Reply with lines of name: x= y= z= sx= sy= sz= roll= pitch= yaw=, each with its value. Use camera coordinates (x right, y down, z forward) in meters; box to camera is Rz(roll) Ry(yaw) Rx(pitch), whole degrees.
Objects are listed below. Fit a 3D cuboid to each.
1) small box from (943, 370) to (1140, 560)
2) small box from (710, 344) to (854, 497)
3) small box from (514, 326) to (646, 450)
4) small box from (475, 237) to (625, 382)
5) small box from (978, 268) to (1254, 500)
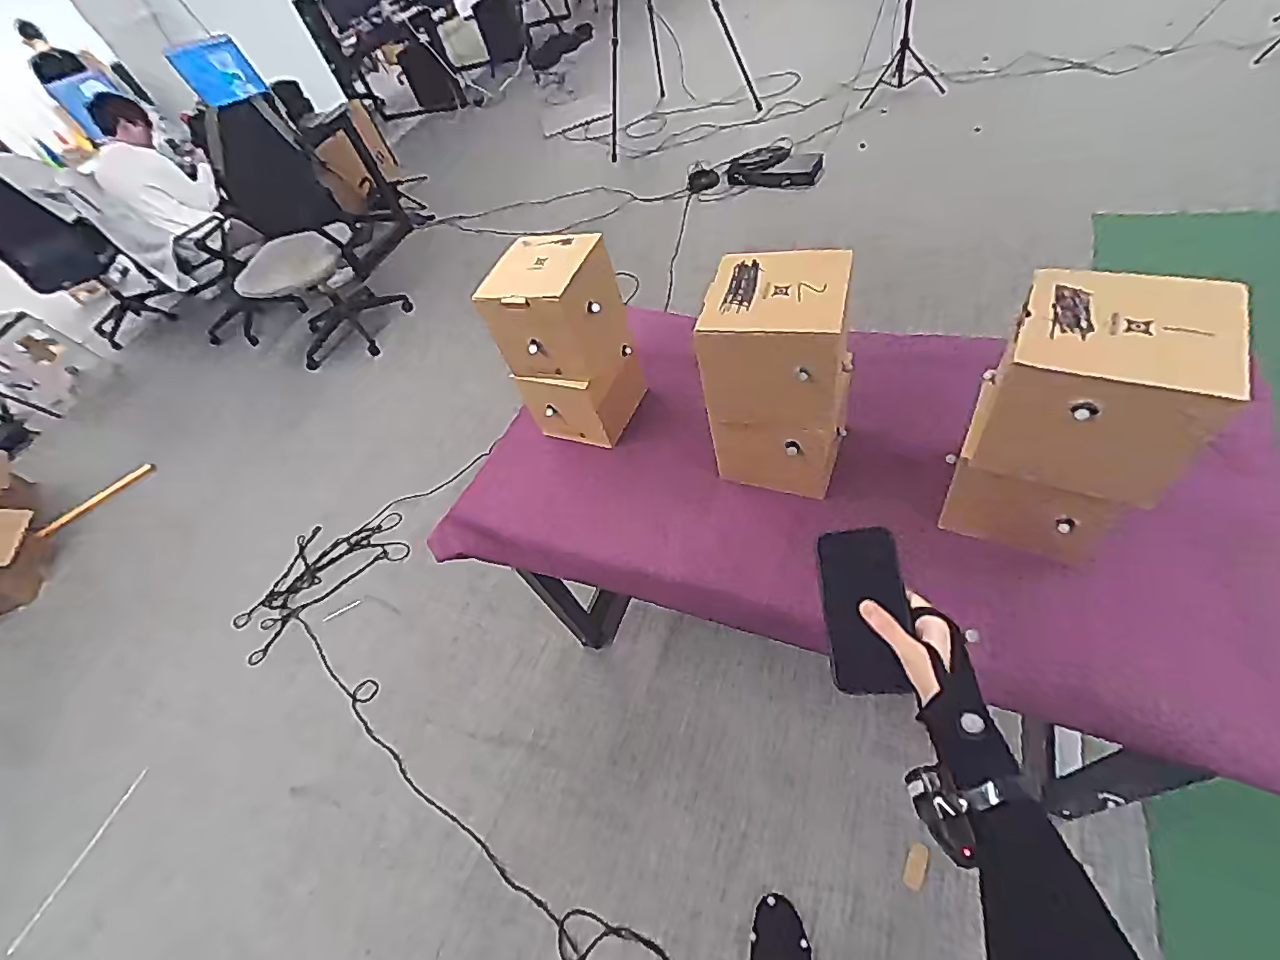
small box: x=0.527 y=-0.016 z=0.715 sx=0.179 sy=0.176 sz=0.168 roll=18 pitch=59 yaw=29
small box: x=0.232 y=-0.092 z=0.867 sx=0.179 sy=0.176 sz=0.168 roll=12 pitch=57 yaw=25
small box: x=-0.105 y=-0.181 z=1.046 sx=0.168 sy=0.176 sz=0.179 roll=13 pitch=57 yaw=26
small box: x=-0.141 y=-0.287 z=0.925 sx=0.168 sy=0.176 sz=0.179 roll=8 pitch=56 yaw=22
small box: x=0.489 y=-0.102 z=0.580 sx=0.179 sy=0.176 sz=0.168 roll=18 pitch=60 yaw=28
